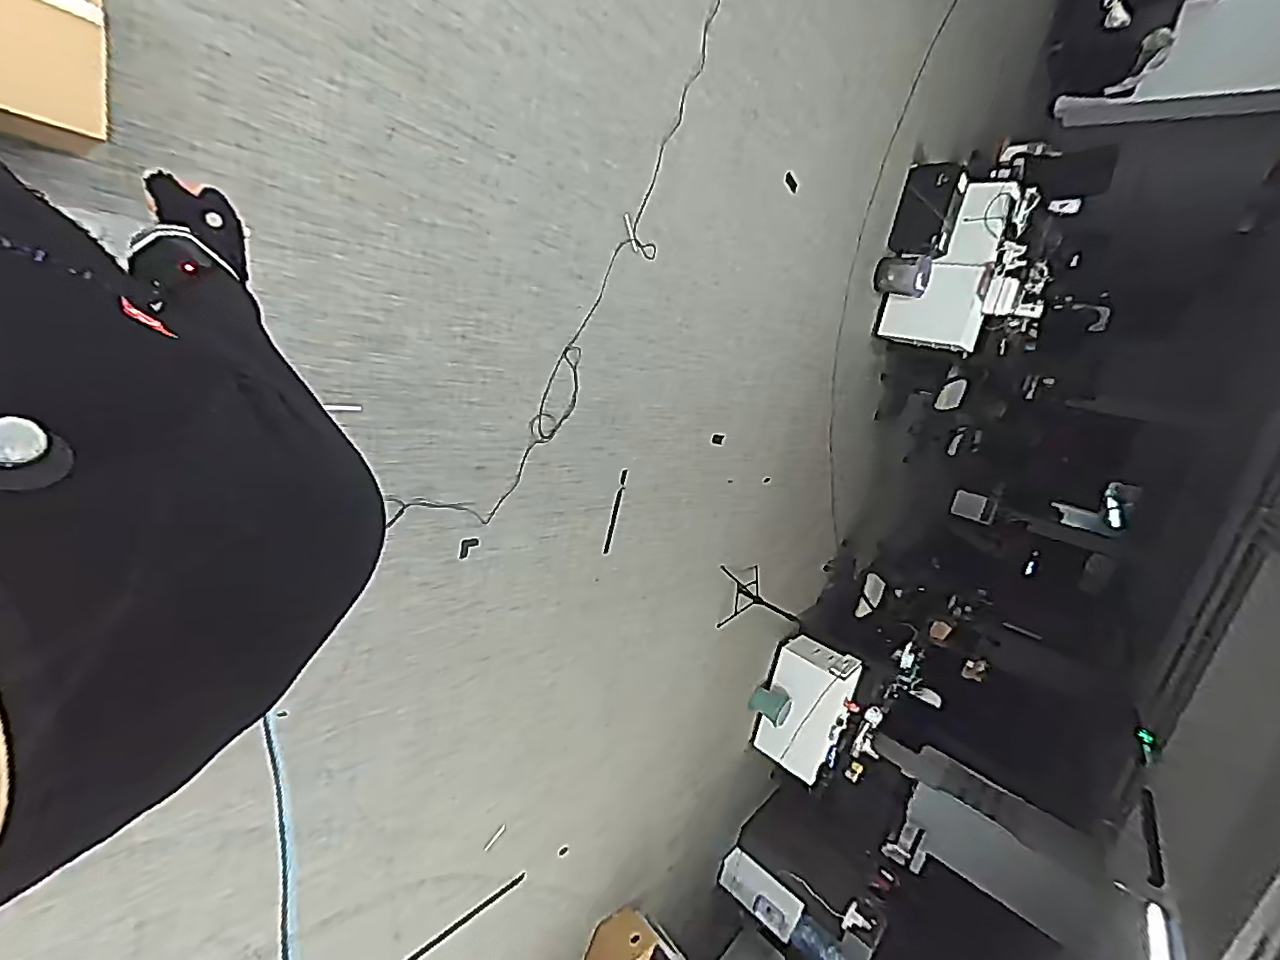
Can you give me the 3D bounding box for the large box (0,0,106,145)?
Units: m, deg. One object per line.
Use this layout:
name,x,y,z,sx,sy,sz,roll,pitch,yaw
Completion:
large box,-0.993,-0.682,0.690,0.408,0.320,0.320,-5,112,-51
